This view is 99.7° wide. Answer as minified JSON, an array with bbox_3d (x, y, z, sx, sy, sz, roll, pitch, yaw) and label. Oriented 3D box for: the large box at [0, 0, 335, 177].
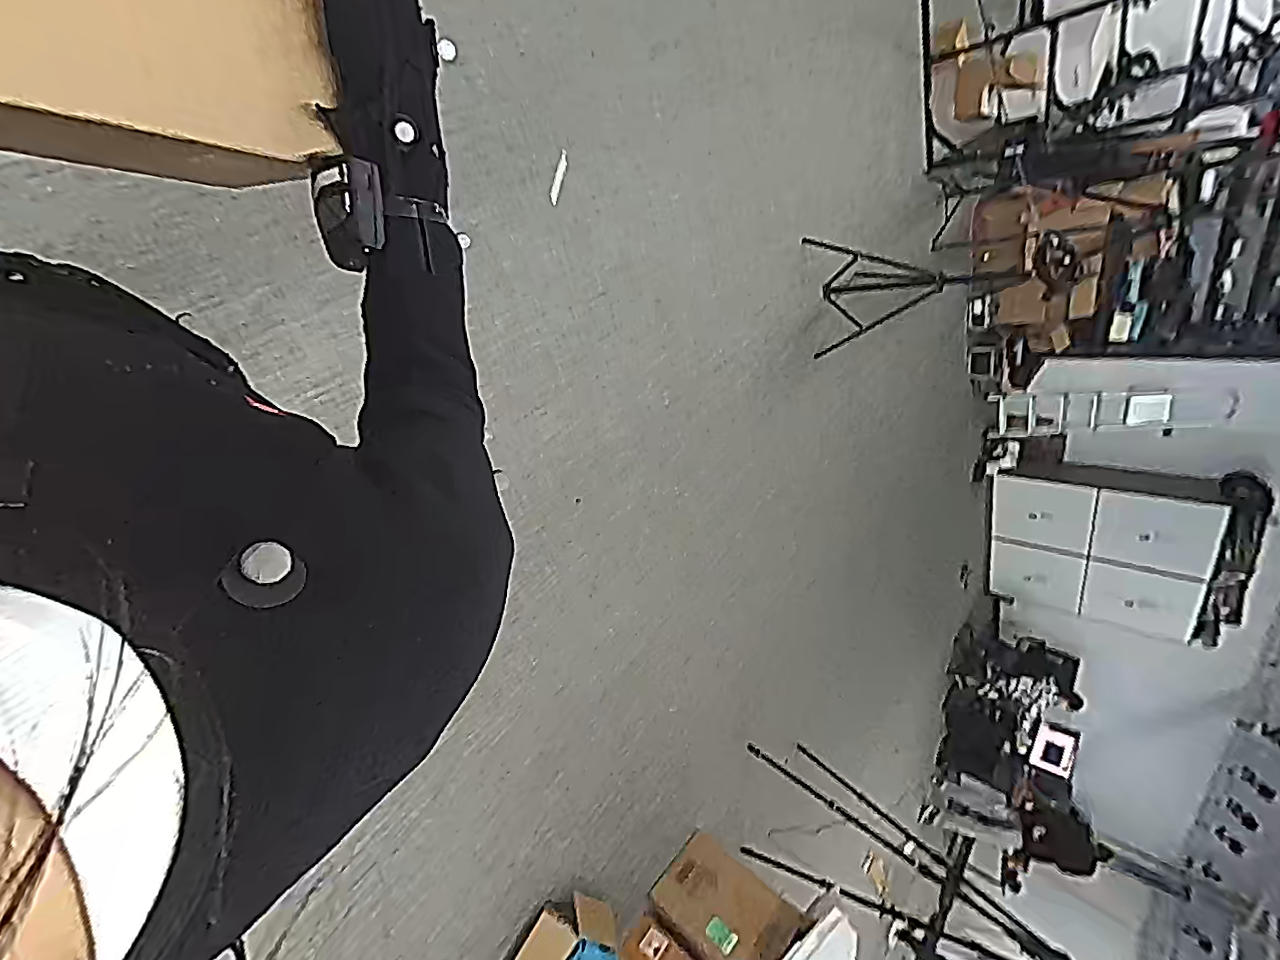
[{"bbox_3d":[-0.456,-0.382,0.299,0.408,0.320,0.320,-16,120,-45],"label":"large box"}]
